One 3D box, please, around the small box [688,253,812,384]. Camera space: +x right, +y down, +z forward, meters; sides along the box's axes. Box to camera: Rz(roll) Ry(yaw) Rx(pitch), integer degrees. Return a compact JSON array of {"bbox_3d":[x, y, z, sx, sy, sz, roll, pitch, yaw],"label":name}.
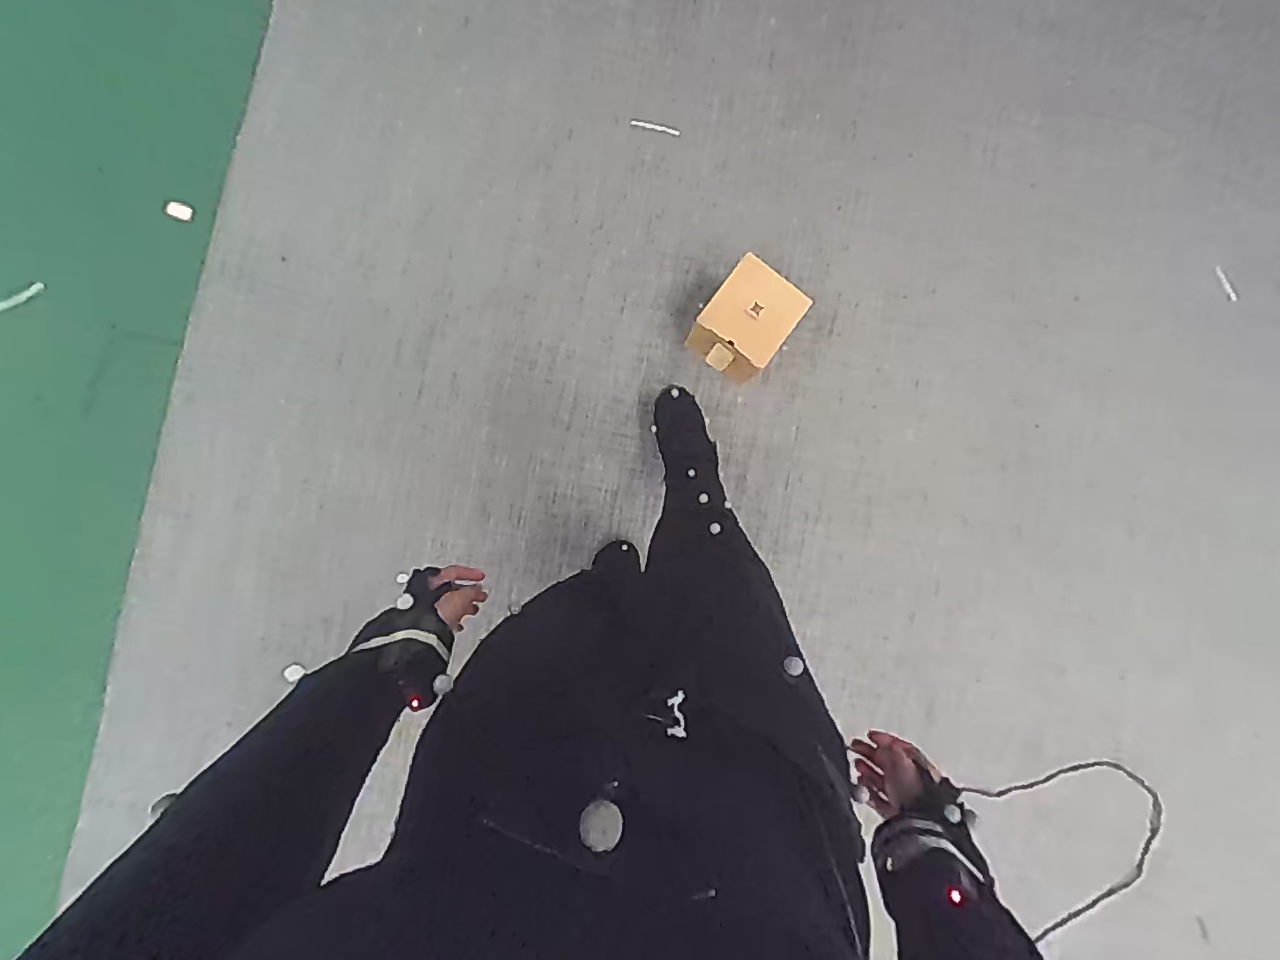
[{"bbox_3d":[0.217,-0.327,1.131,0.168,0.176,0.179,37,87,-3],"label":"small box"}]
